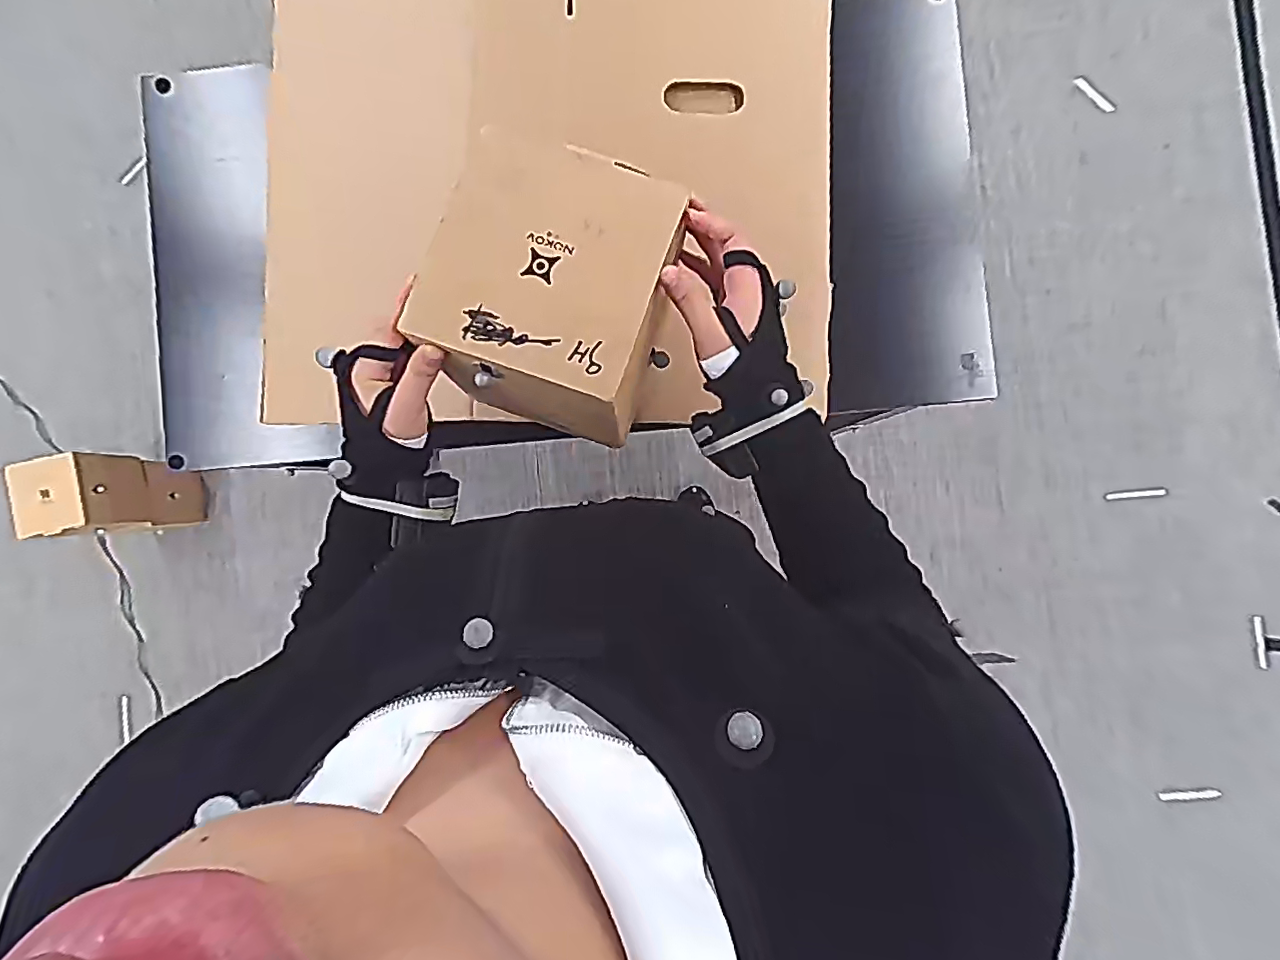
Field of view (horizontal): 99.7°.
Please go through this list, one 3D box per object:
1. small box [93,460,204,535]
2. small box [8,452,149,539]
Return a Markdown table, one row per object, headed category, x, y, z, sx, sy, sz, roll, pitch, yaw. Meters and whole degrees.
| category | x | y | z | sx | sy | sz | roll | pitch | yaw |
| --- | --- | --- | --- | --- | --- | --- | --- | --- | --- |
| small box | -1.342 | 0.048 | 1.476 | 0.168 | 0.176 | 0.179 | -9 | 89 | 2 |
| small box | -1.351 | 0.038 | 1.314 | 0.168 | 0.176 | 0.179 | -12 | 87 | 1 |
